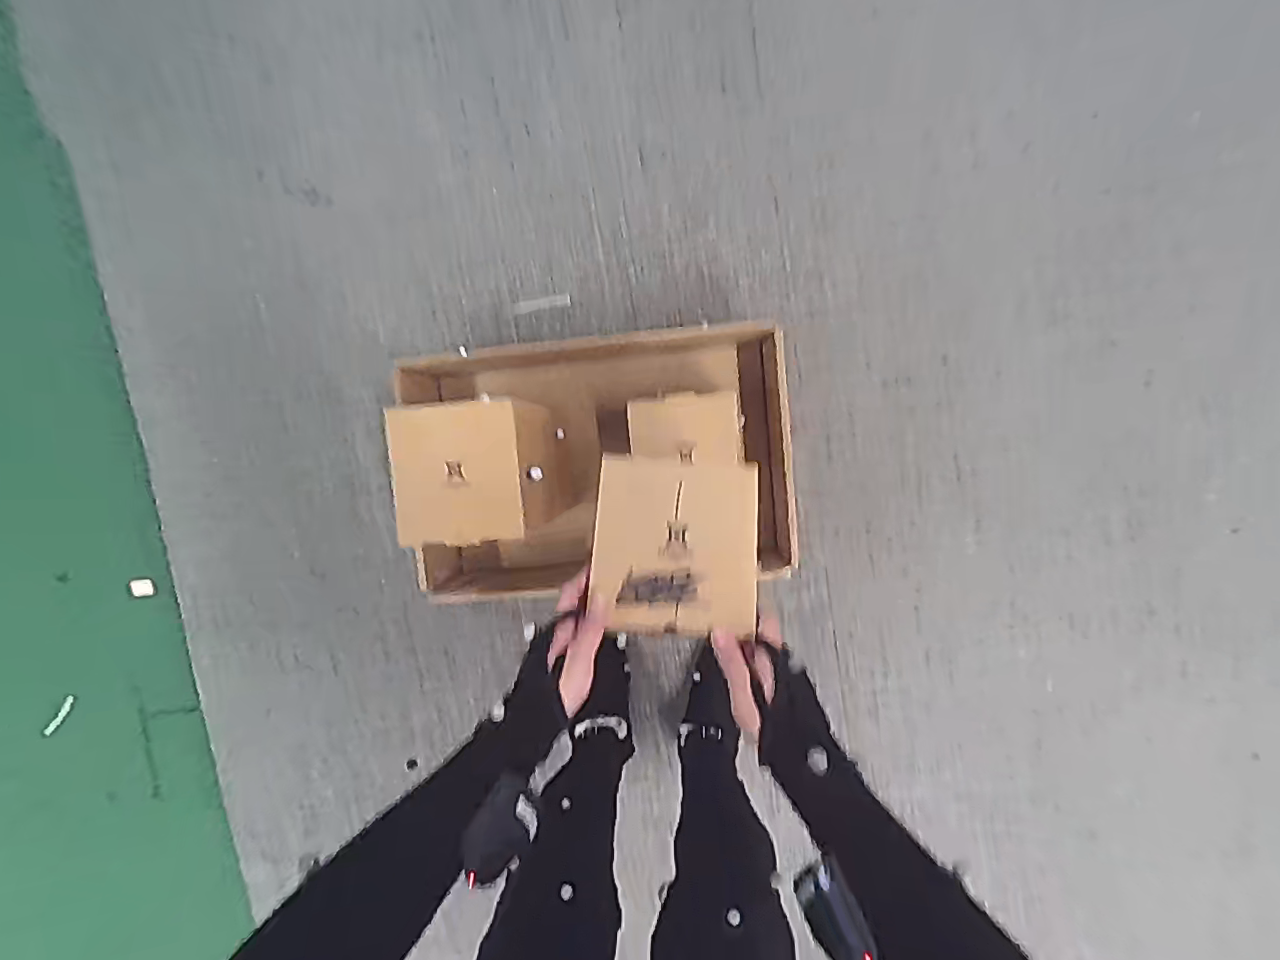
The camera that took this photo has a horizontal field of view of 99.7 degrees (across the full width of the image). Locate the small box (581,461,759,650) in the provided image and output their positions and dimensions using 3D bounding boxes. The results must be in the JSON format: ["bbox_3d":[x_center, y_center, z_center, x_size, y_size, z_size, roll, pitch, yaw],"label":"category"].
[{"bbox_3d":[0.032,0.093,0.604,0.168,0.176,0.179,5,71,0],"label":"small box"}]

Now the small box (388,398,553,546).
[{"bbox_3d":[-0.223,-0.013,0.750,0.168,0.176,0.179,-4,94,4],"label":"small box"}]

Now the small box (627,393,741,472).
[{"bbox_3d":[0.073,-0.041,0.887,0.168,0.176,0.179,-5,95,6],"label":"small box"}]
